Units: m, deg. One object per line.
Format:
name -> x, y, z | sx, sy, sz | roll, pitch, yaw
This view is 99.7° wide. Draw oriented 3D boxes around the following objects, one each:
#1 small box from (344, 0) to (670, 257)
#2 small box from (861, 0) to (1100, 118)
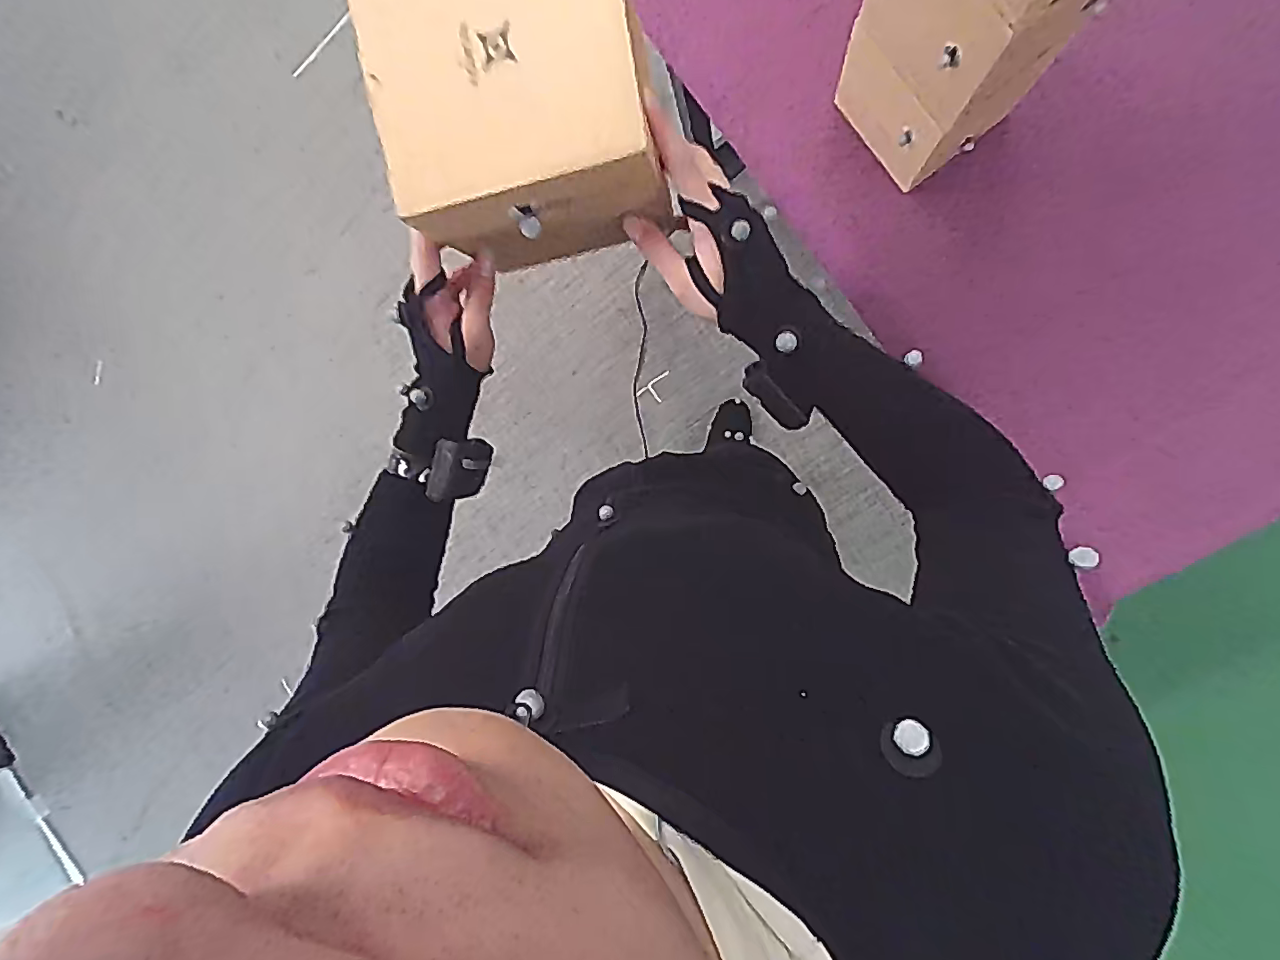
small box -> -0.078, -0.282, 0.402 | 0.179, 0.176, 0.168 | -8, 98, 13
small box -> 0.350, -0.506, 0.535 | 0.168, 0.176, 0.179 | -36, 87, 12
